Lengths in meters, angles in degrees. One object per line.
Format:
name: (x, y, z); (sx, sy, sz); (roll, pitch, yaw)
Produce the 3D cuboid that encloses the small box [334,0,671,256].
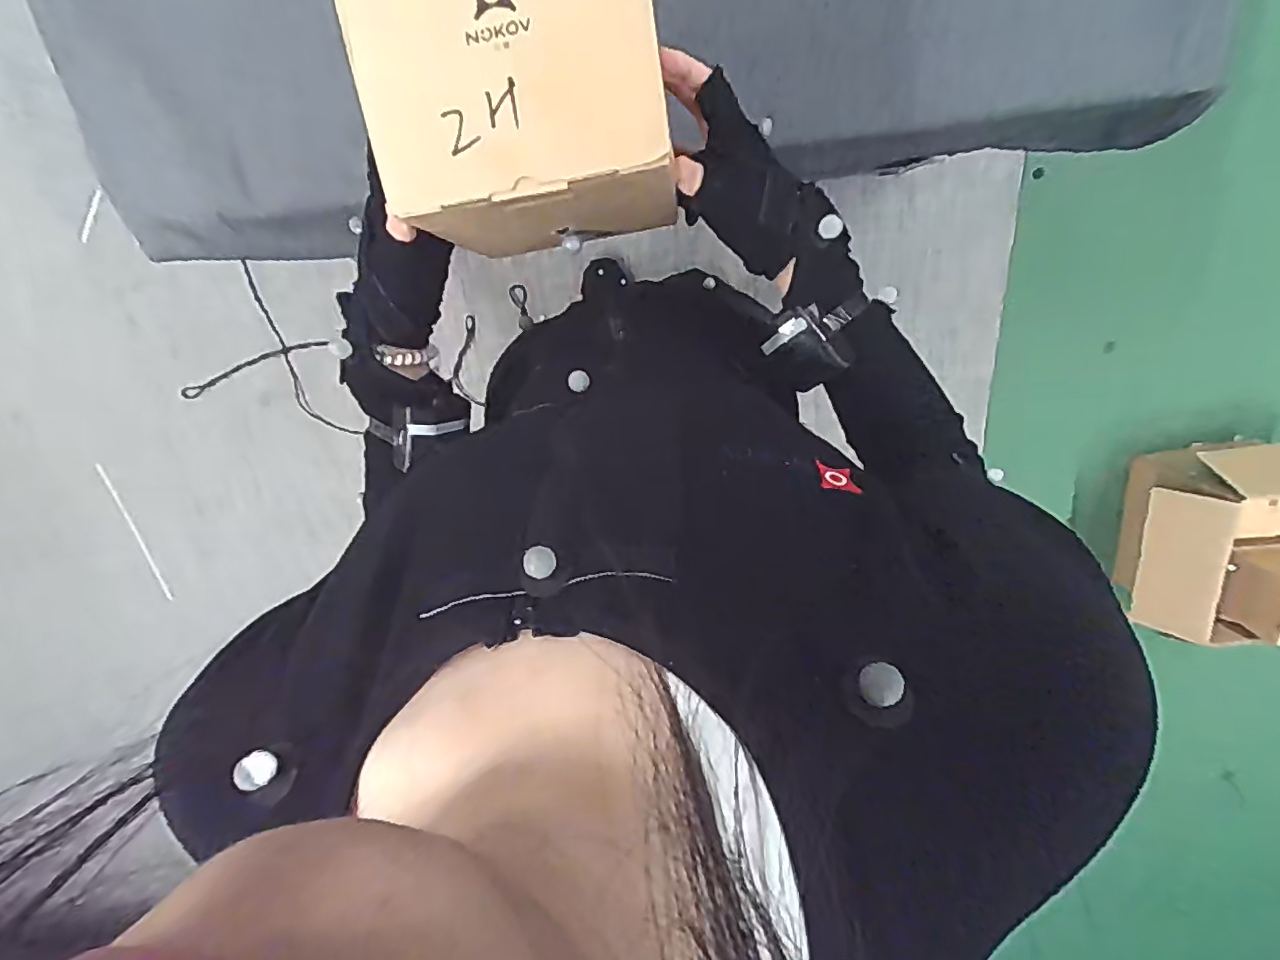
small box: (-0.072, -0.263, 0.358); (0.168, 0.176, 0.179); (-8, 105, 7)
